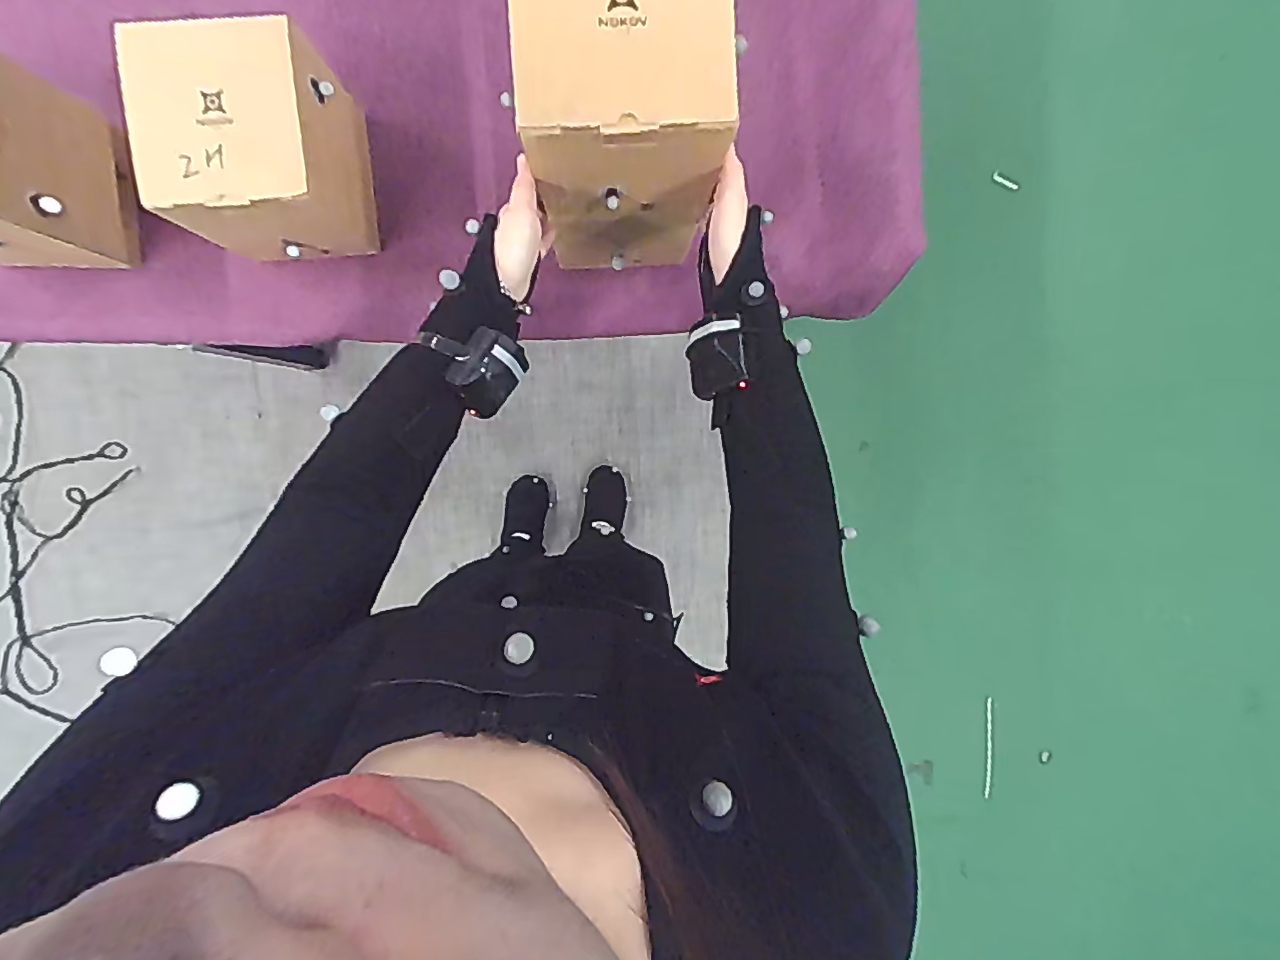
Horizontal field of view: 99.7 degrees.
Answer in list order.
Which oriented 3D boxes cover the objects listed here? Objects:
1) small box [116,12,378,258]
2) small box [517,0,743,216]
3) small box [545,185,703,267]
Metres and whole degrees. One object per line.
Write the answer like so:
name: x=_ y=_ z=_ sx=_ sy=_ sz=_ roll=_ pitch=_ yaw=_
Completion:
small box: x=-0.419 y=-0.369 z=0.607 sx=0.168 sy=0.176 sz=0.179 roll=-5 pitch=95 yaw=-2
small box: x=-0.013 y=-0.353 z=0.470 sx=0.168 sy=0.176 sz=0.179 roll=-4 pitch=96 yaw=-3
small box: x=-0.024 y=-0.364 z=0.632 sx=0.168 sy=0.176 sz=0.179 roll=-3 pitch=96 yaw=-3
